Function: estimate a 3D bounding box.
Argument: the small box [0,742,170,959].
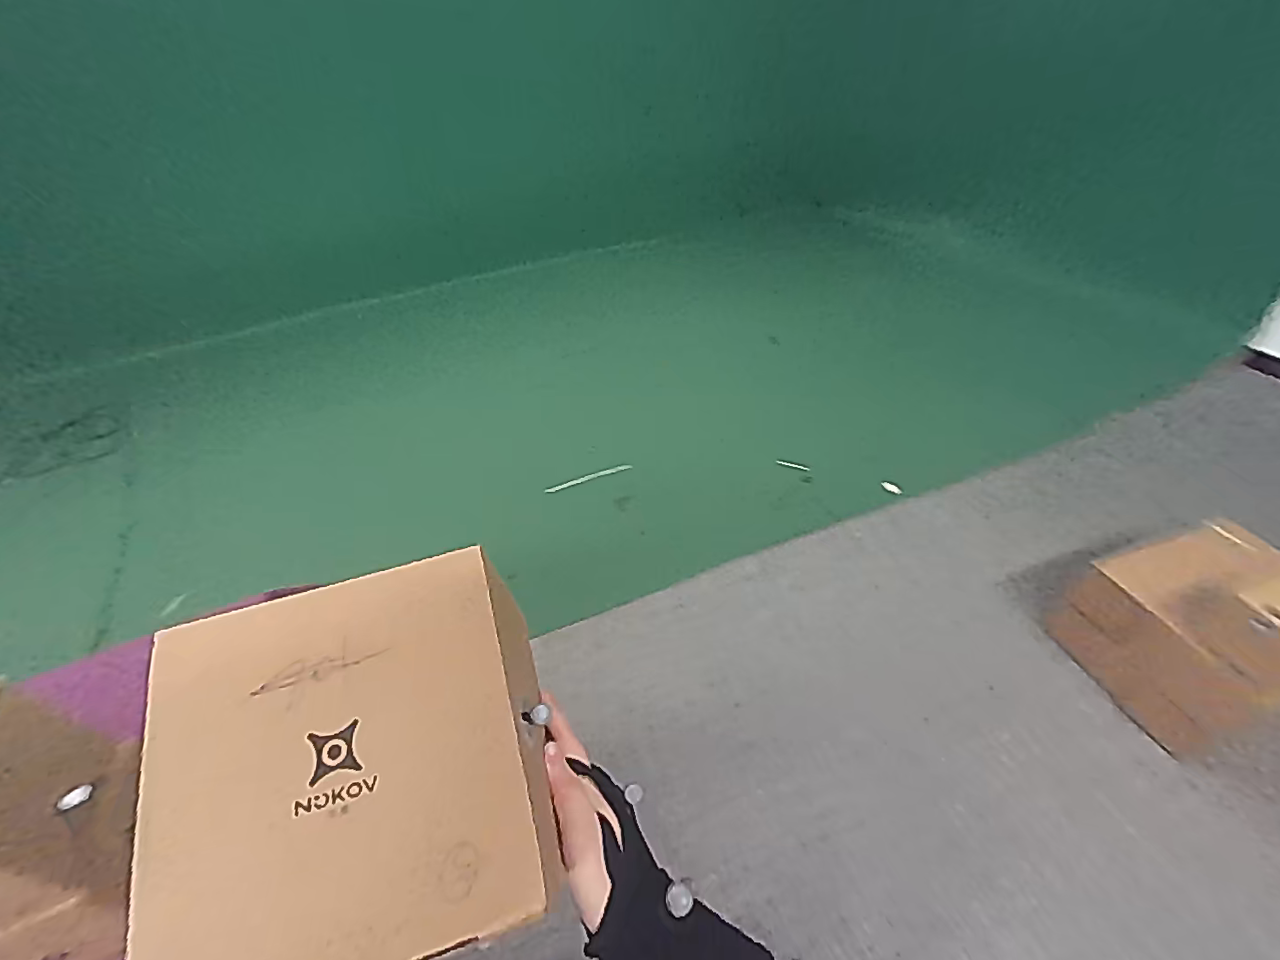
[{"bbox_3d":[-0.656,0.453,0.635,0.168,0.176,0.179,-19,43,-13],"label":"small box"}]

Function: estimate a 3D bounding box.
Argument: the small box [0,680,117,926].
[{"bbox_3d":[-0.680,0.336,0.522,0.179,0.176,0.168,-21,44,-15],"label":"small box"}]

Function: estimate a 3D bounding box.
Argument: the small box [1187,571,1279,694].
[{"bbox_3d":[1.315,0.312,1.118,0.179,0.176,0.168,-13,43,-9],"label":"small box"}]

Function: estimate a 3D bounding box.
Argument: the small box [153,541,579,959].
[{"bbox_3d":[-0.137,0.161,0.329,0.168,0.176,0.179,-13,64,-9],"label":"small box"}]
